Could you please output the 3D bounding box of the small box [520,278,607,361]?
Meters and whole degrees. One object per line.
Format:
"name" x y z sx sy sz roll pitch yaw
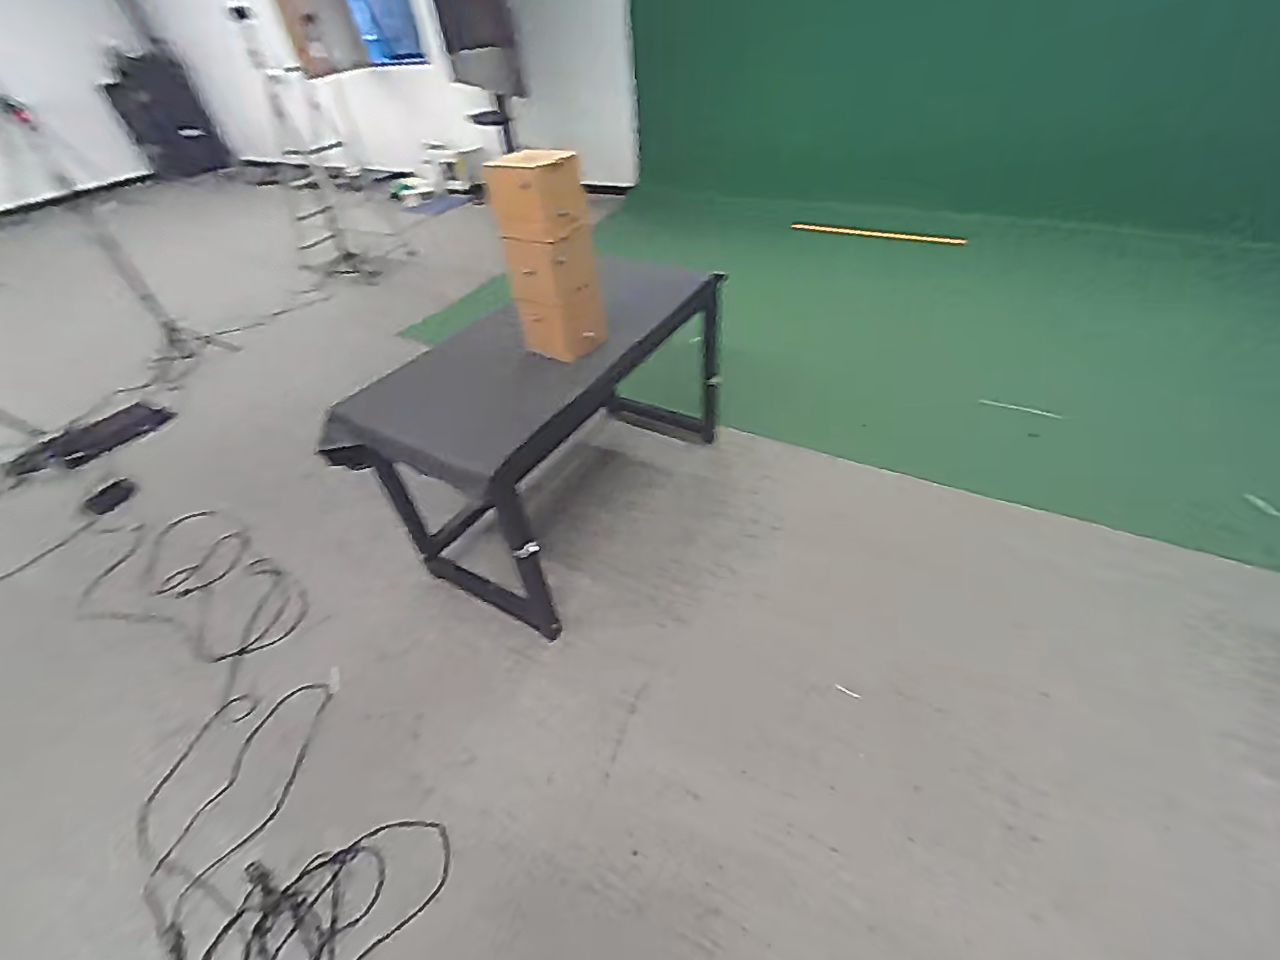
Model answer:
"small box" -0.217 -0.465 1.569 0.179 0.176 0.168 23 49 29

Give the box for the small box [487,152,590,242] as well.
"small box" -0.248 -0.709 1.354 0.179 0.176 0.168 19 47 27
